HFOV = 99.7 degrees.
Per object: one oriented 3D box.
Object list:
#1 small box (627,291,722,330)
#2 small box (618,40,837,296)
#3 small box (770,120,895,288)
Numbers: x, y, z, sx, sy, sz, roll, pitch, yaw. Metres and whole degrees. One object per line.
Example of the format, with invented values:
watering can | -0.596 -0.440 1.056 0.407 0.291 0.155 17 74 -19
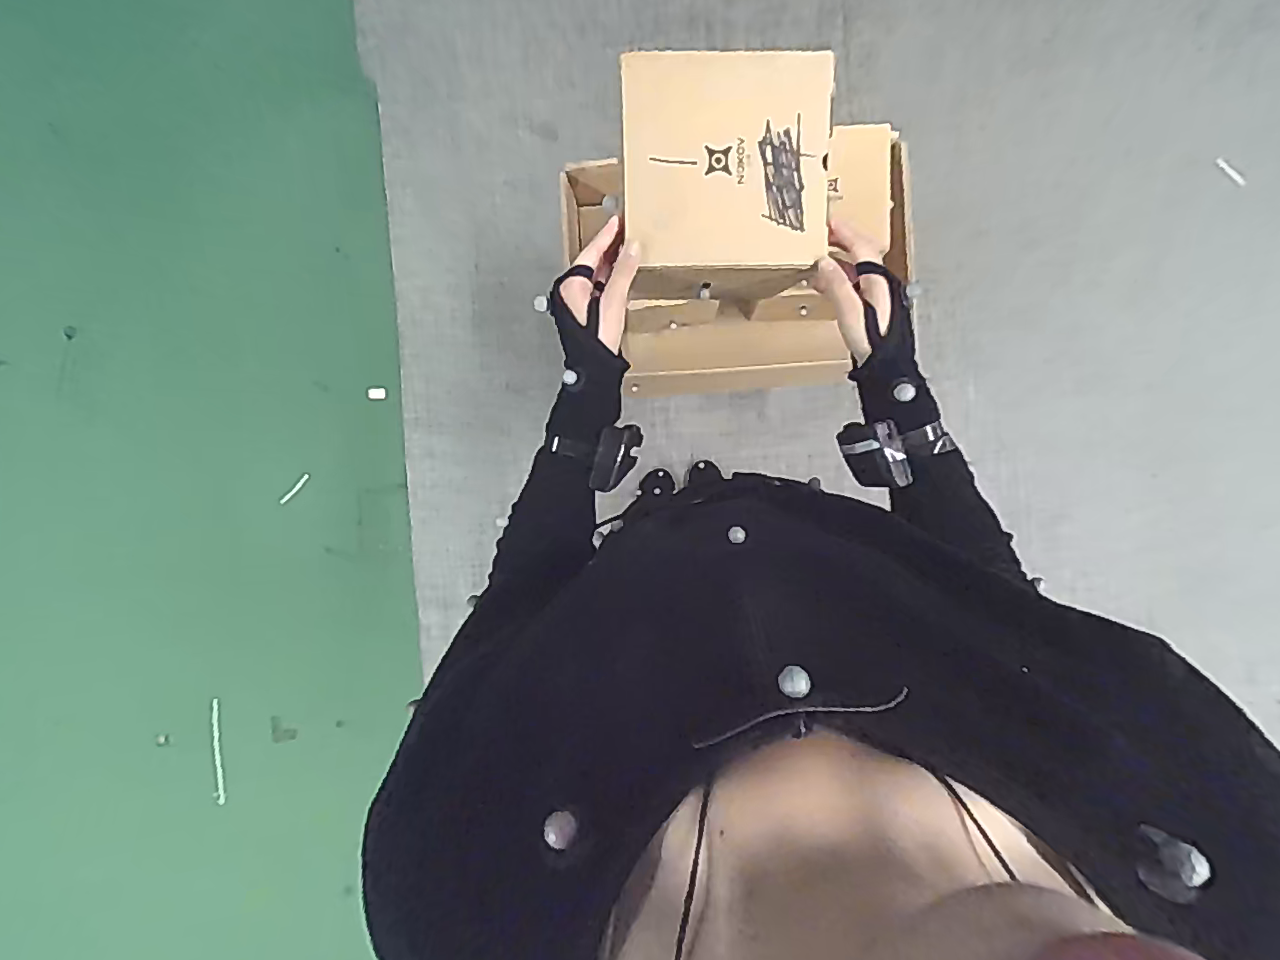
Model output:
small box | 0.055 -0.396 1.008 0.168 0.176 0.179 -7 90 3
small box | 0.068 -0.278 0.520 0.179 0.176 0.168 -1 99 -2
small box | 0.276 -0.413 0.833 0.168 0.176 0.179 0 90 4
